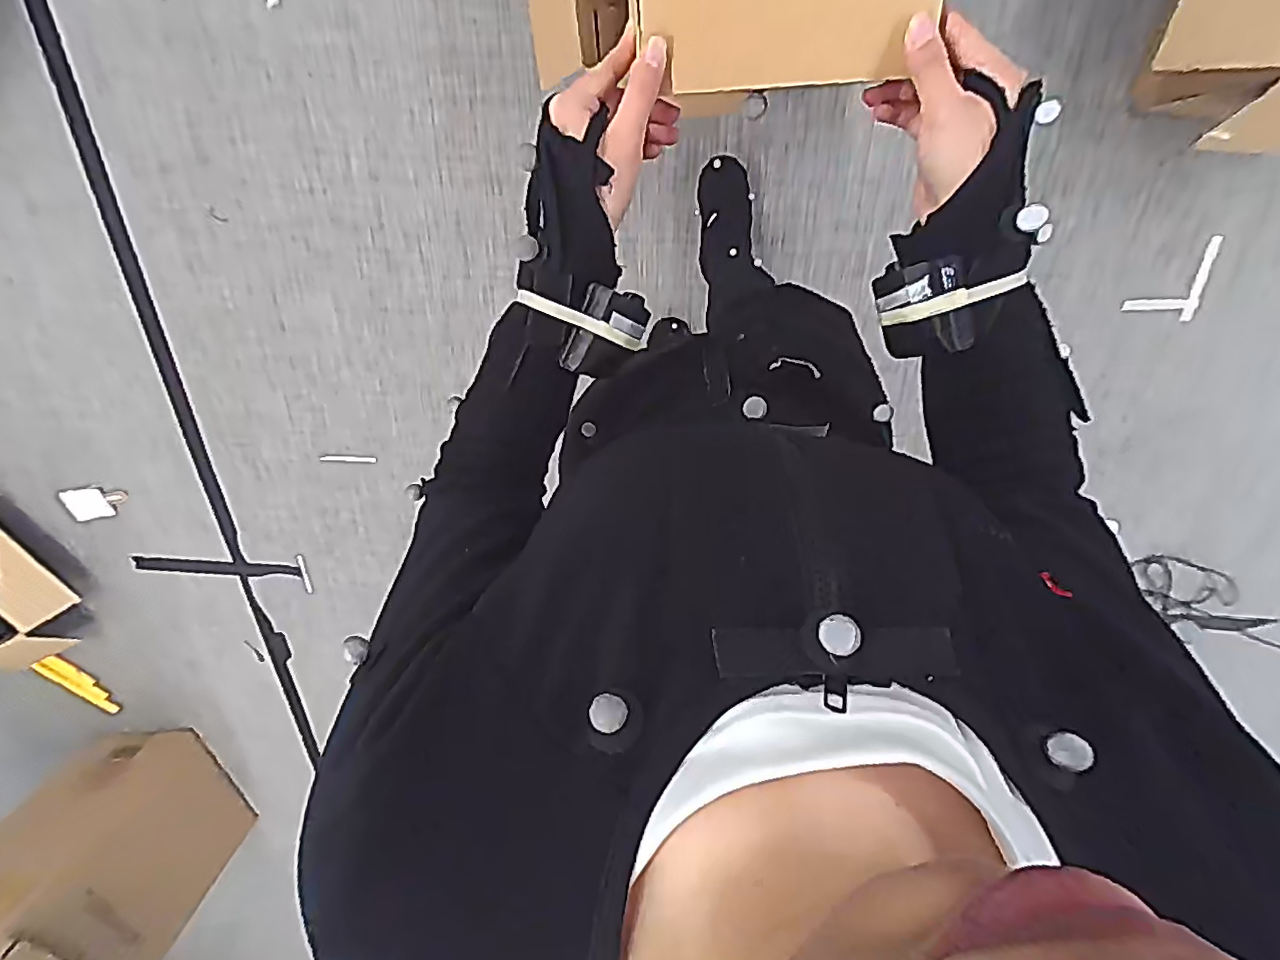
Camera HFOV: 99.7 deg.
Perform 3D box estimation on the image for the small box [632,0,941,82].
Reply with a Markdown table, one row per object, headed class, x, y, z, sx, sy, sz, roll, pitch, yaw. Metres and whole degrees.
| class | x | y | z | sx | sy | sz | roll | pitch | yaw |
| --- | --- | --- | --- | --- | --- | --- | --- | --- | --- |
| small box | 0.081 | -0.359 | 0.340 | 0.179 | 0.176 | 0.168 | -3 | 126 | 2 |
